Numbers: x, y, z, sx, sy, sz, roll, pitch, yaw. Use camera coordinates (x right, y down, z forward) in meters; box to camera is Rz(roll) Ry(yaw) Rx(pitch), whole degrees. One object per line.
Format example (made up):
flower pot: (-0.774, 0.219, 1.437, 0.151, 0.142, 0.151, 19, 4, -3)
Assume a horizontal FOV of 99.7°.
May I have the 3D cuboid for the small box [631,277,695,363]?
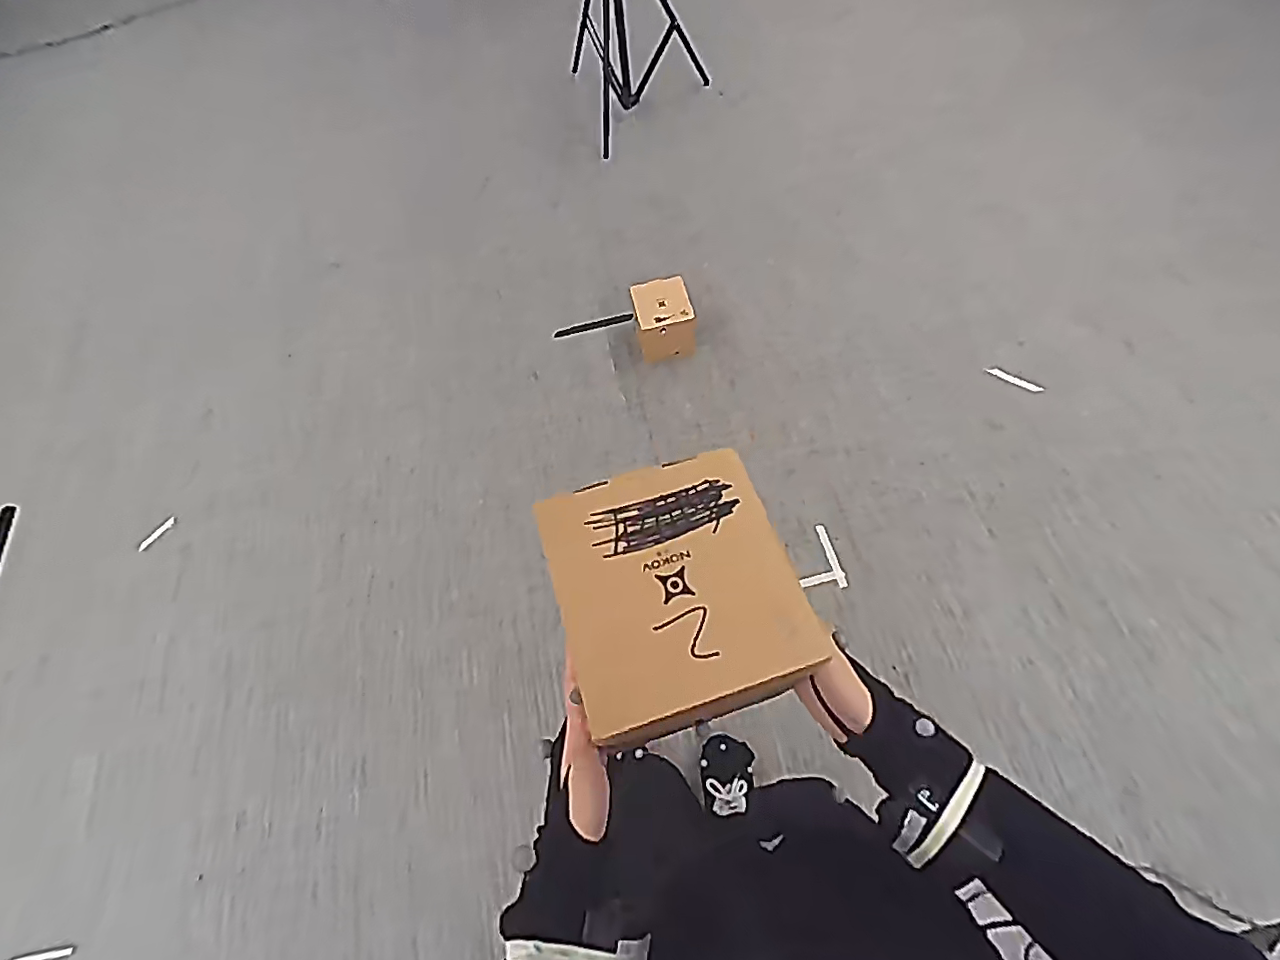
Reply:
small box: (0.072, -0.497, 1.694, 0.168, 0.176, 0.179, -14, 64, -1)
